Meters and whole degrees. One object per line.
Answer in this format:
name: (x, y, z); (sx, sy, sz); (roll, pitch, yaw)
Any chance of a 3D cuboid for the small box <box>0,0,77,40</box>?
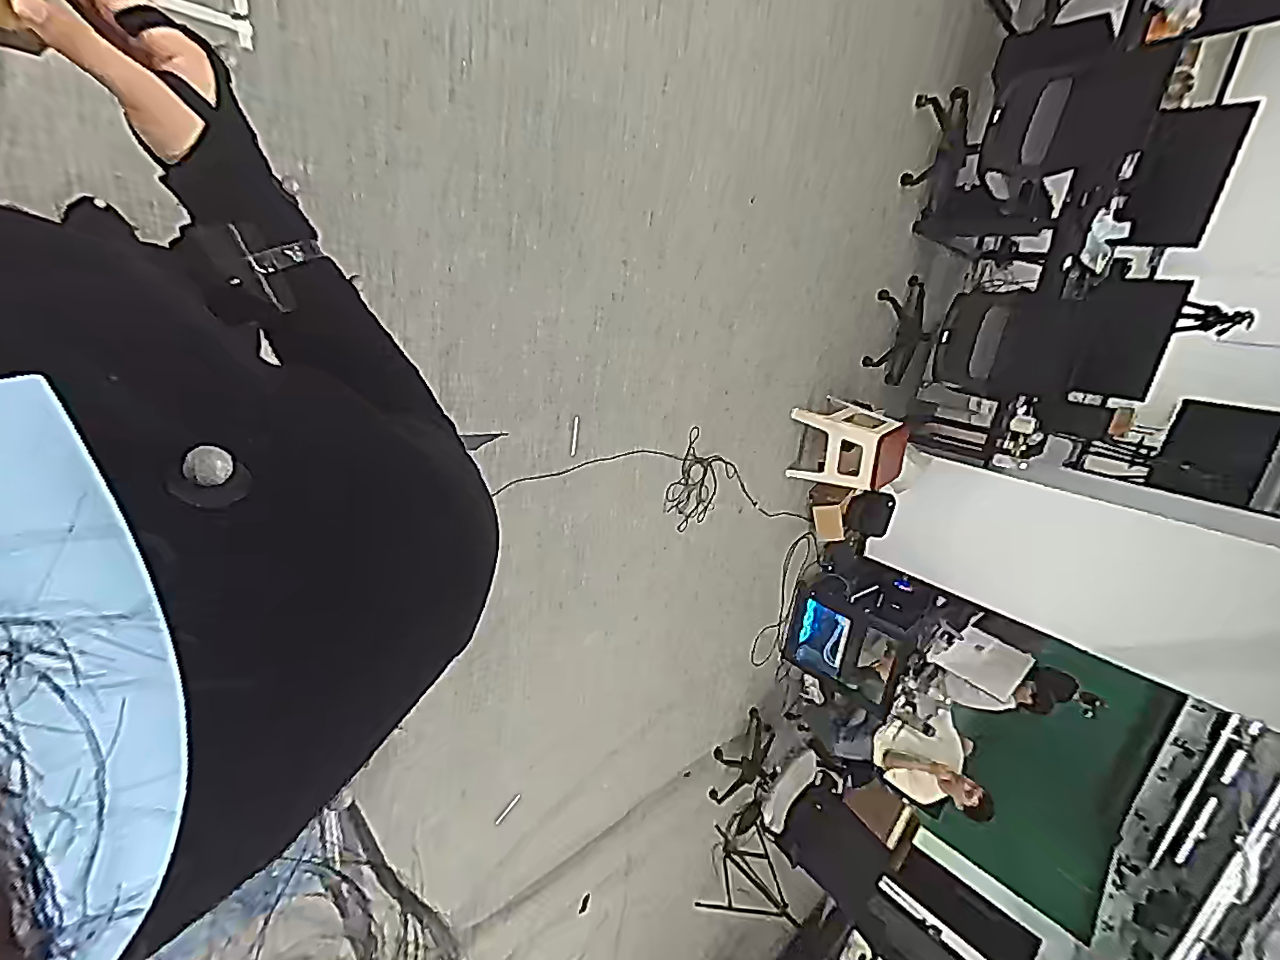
small box: (-0.409, -0.349, 0.257); (0.168, 0.176, 0.179); (-13, 124, -45)
